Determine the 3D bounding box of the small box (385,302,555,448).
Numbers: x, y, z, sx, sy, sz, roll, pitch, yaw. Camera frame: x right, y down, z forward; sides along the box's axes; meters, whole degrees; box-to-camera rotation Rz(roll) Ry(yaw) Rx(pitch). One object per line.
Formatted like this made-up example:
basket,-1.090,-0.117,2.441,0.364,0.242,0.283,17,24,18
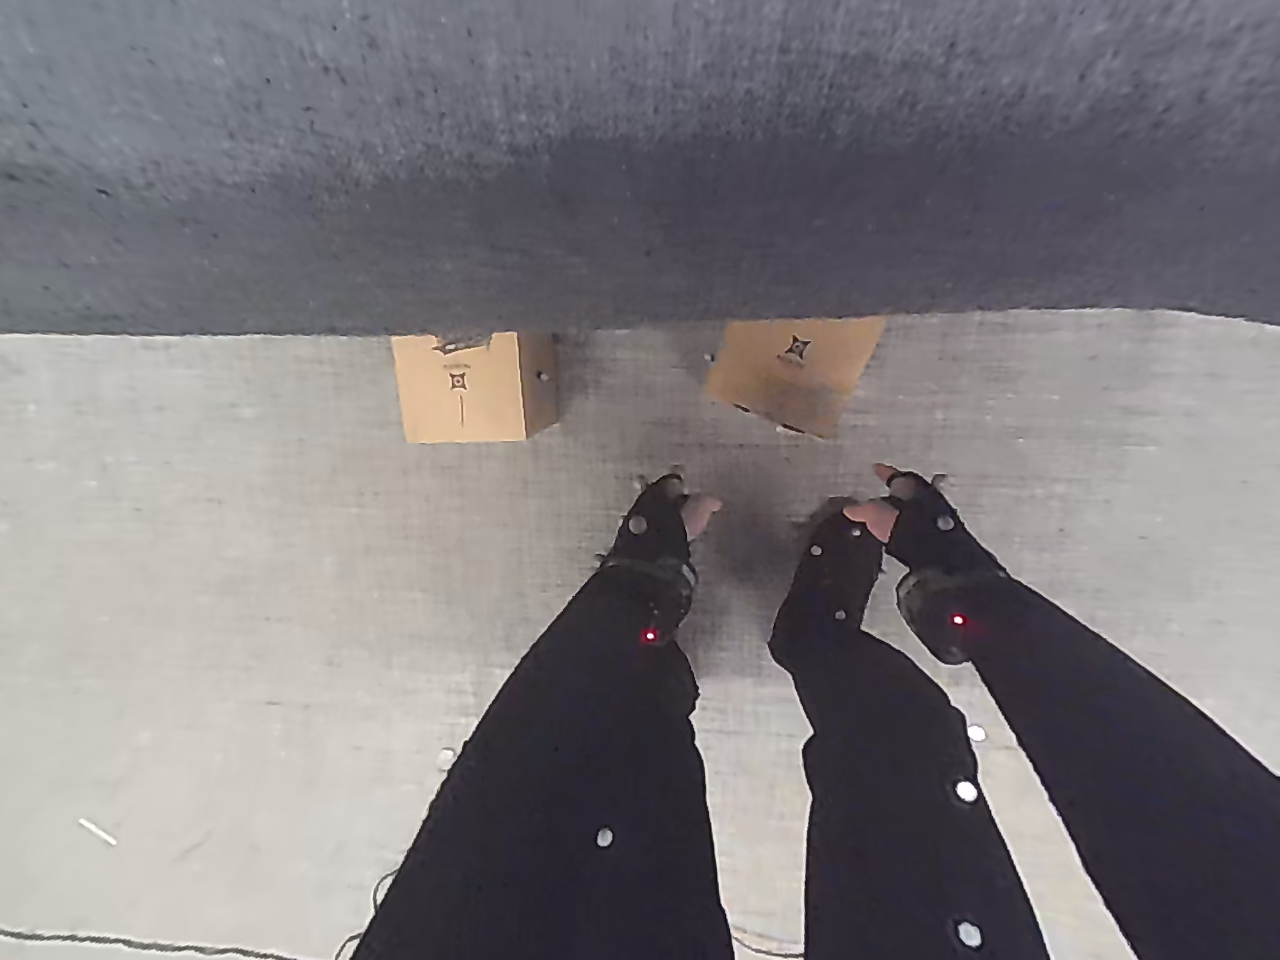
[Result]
small box,-0.221,-0.145,0.750,0.168,0.176,0.179,-1,104,6

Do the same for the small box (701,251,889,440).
small box,0.186,-0.171,0.709,0.168,0.176,0.179,20,103,-1
